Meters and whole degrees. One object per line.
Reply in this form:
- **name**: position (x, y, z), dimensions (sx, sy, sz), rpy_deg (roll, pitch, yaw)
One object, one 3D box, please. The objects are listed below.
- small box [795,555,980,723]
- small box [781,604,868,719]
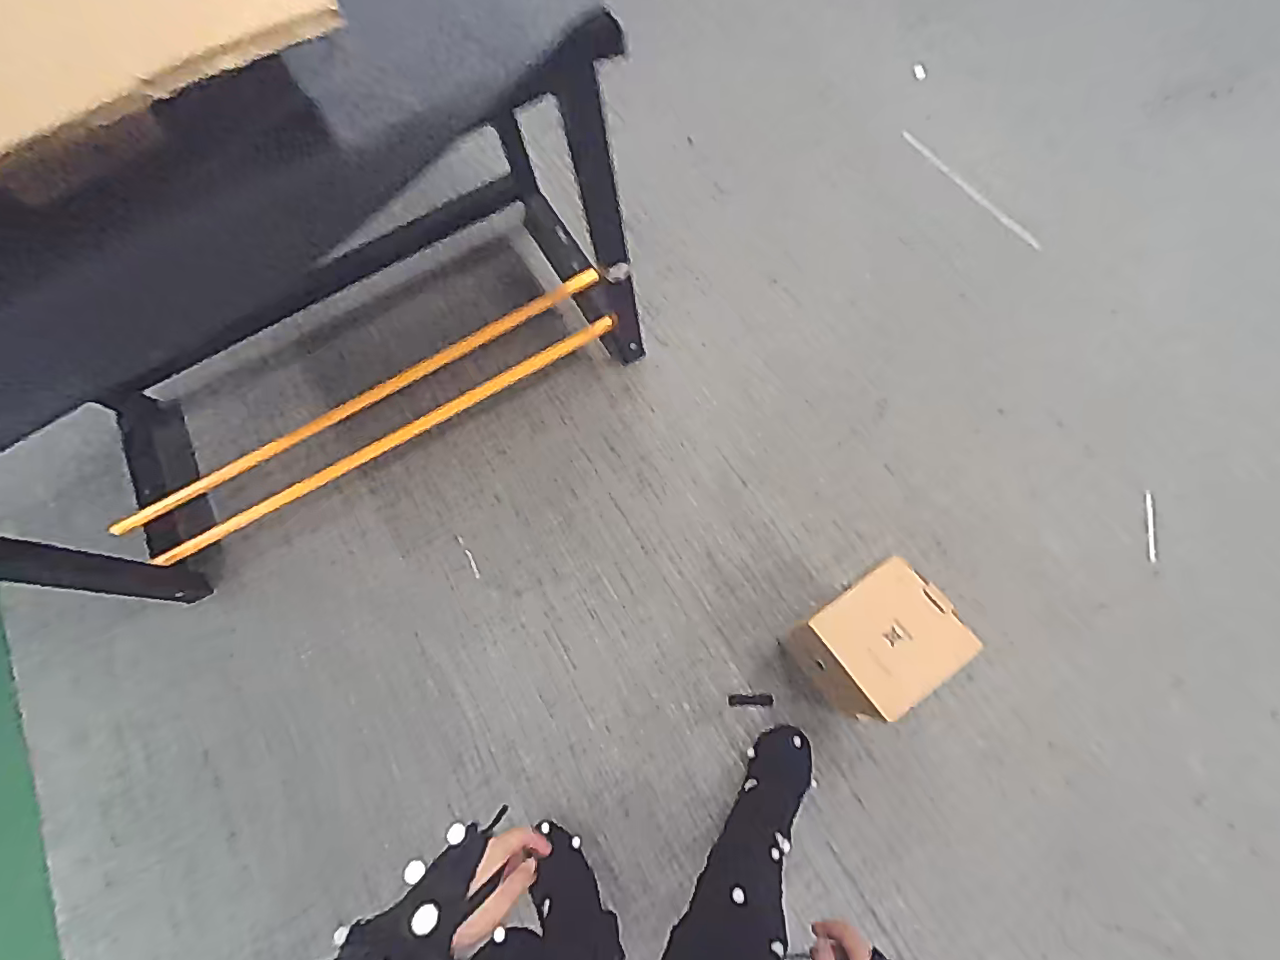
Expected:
- **small box**: position (0.365, 0.244, 0.837), dimensions (0.179, 0.176, 0.168), rpy_deg (-36, 70, -7)
- **small box**: position (0.381, 0.309, 0.987), dimensions (0.168, 0.176, 0.179), rpy_deg (-35, 71, -7)
